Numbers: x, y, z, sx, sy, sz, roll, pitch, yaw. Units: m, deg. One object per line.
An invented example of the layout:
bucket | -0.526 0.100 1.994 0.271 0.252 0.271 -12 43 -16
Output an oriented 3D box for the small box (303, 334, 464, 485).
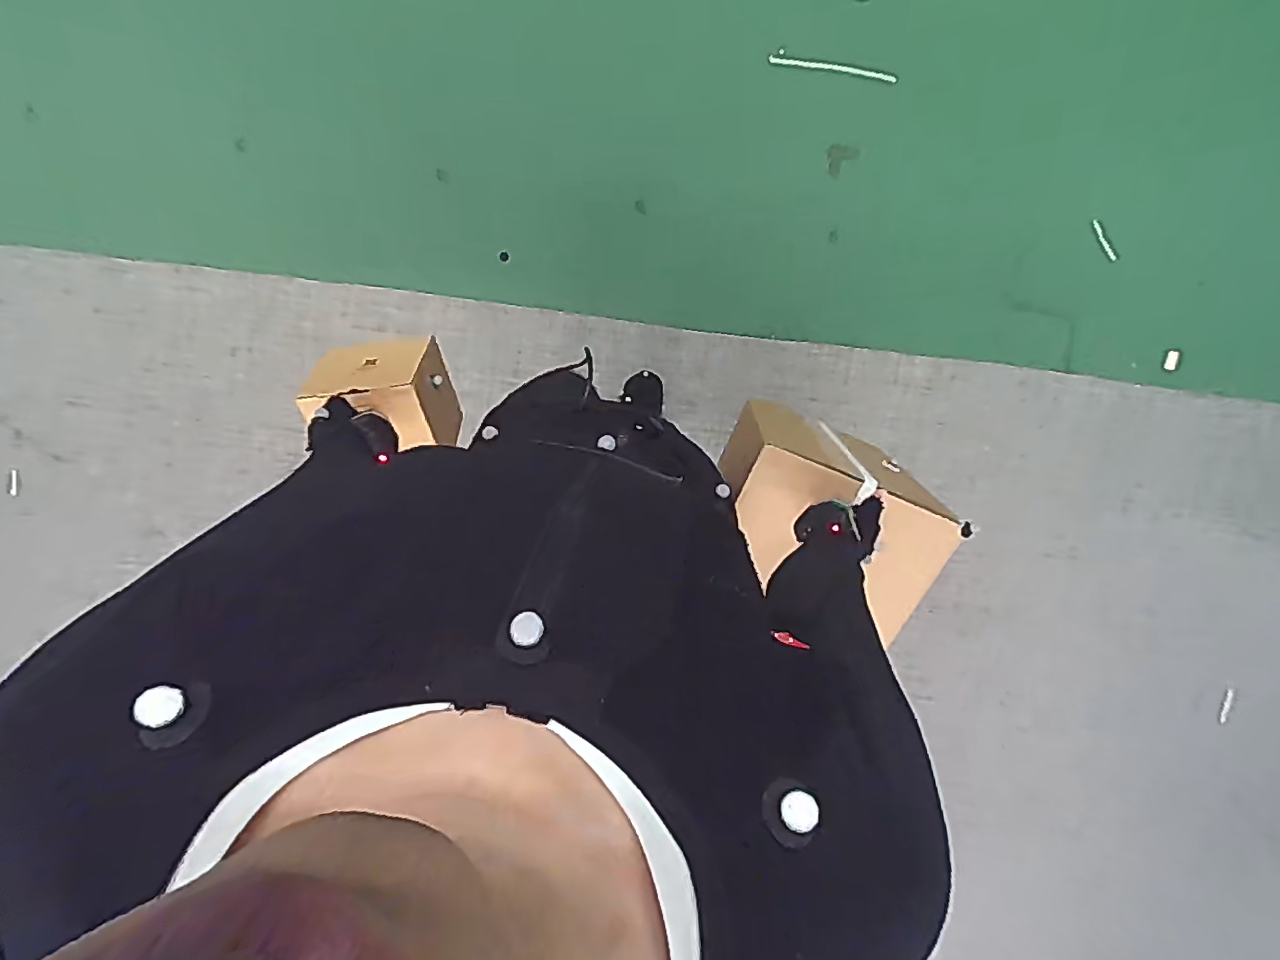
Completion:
small box | -0.399 -0.116 0.881 0.168 0.179 0.176 -9 130 -1
